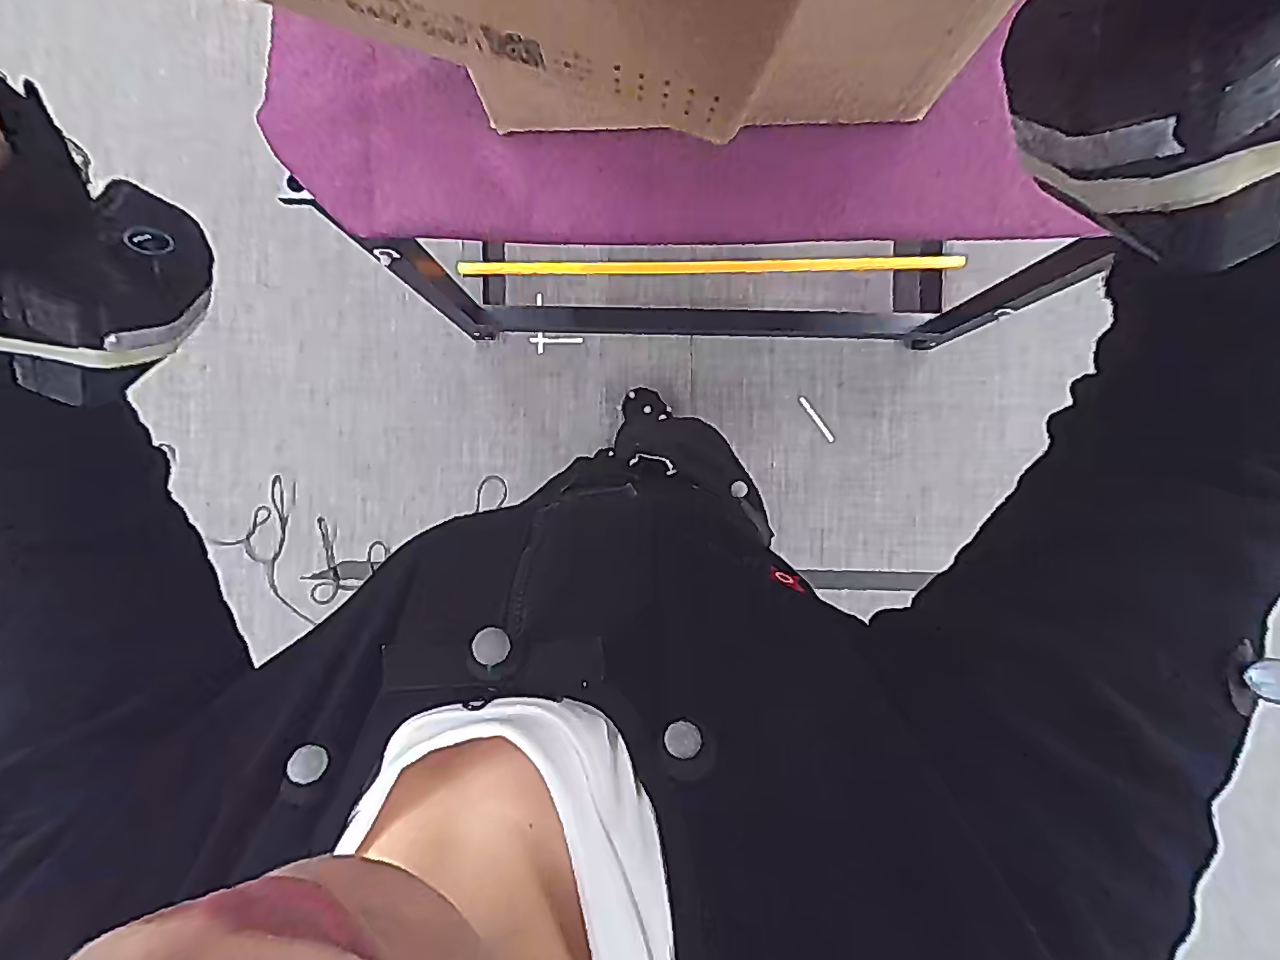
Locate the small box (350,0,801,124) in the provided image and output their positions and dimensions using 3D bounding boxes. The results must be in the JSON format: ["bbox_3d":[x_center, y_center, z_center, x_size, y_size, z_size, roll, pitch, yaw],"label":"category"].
[{"bbox_3d":[-0.025,-0.178,0.056,0.168,0.176,0.179,14,103,-6],"label":"small box"}]
